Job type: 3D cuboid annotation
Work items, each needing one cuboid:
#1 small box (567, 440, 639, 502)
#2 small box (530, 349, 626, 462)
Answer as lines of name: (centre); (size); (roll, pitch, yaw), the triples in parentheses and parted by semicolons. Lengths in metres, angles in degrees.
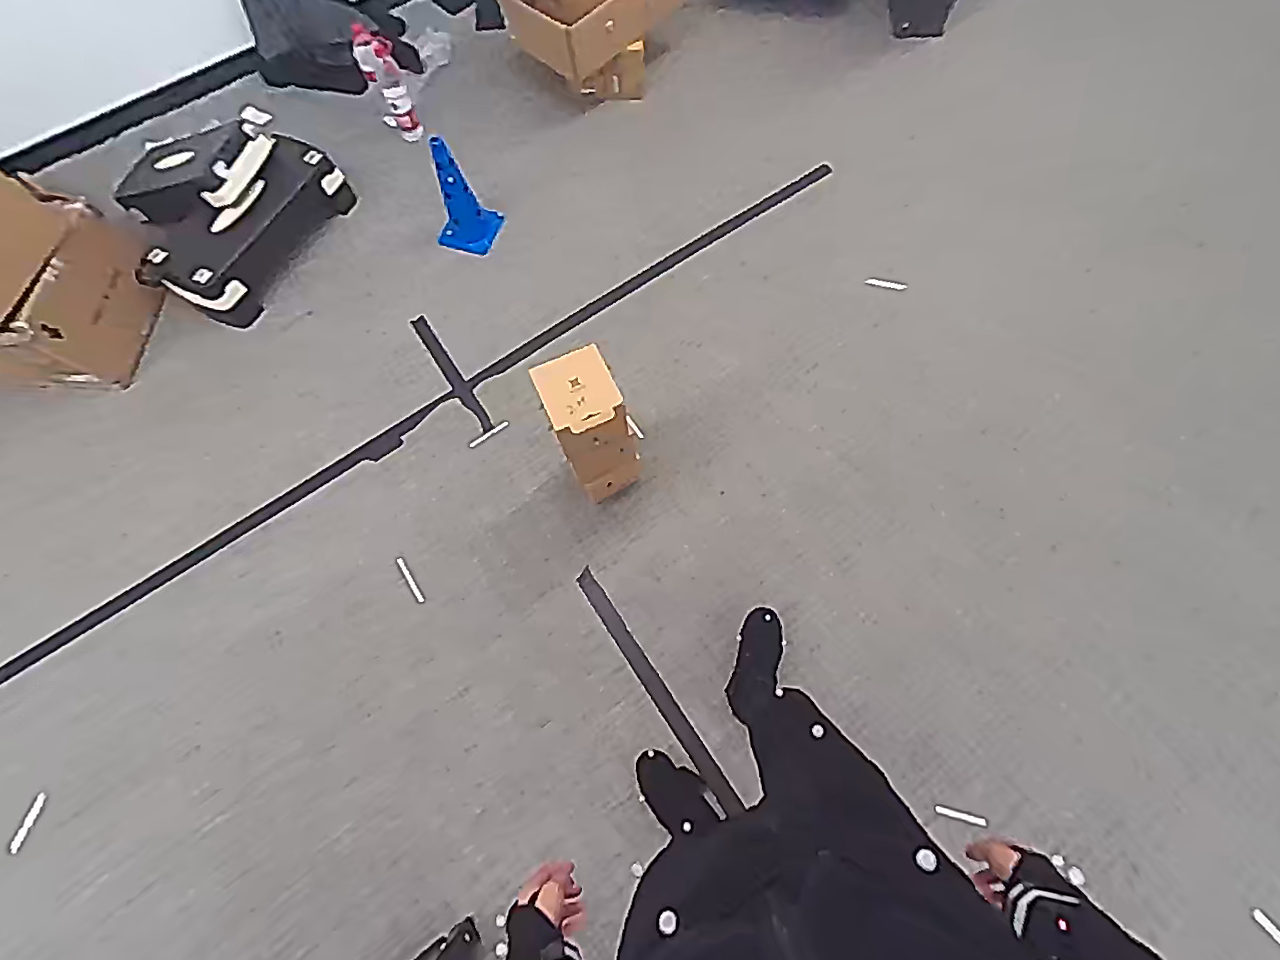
small box: (-0.113, -0.052, 1.579); (0.168, 0.176, 0.179); (-30, 71, -9)
small box: (-0.141, -0.170, 1.272); (0.168, 0.176, 0.179); (-24, 71, -7)
